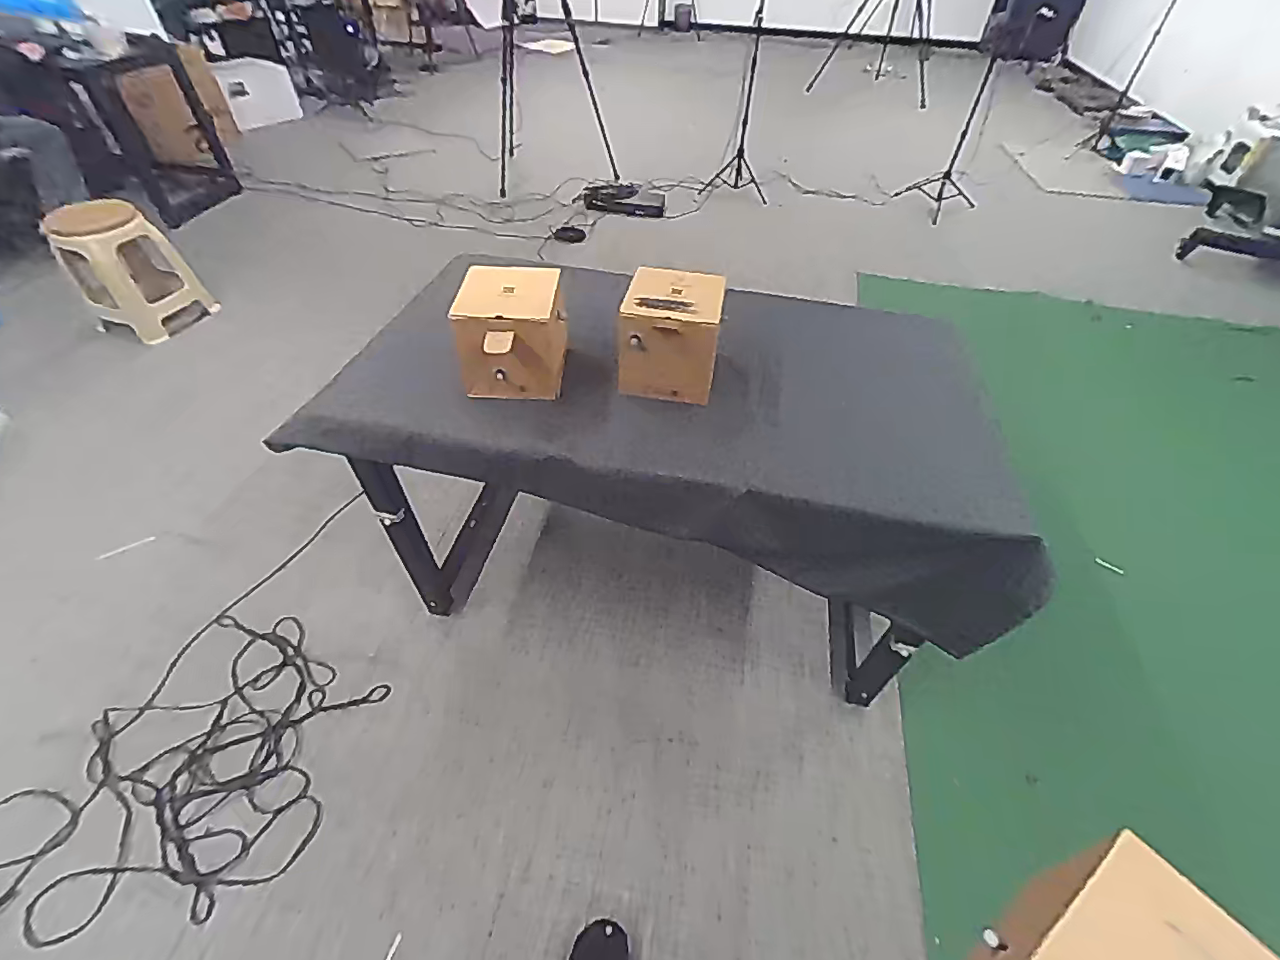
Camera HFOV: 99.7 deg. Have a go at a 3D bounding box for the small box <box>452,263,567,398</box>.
[{"bbox_3d":[-0.225,-0.271,0.982,0.168,0.176,0.179,2,48,-2],"label":"small box"}]
